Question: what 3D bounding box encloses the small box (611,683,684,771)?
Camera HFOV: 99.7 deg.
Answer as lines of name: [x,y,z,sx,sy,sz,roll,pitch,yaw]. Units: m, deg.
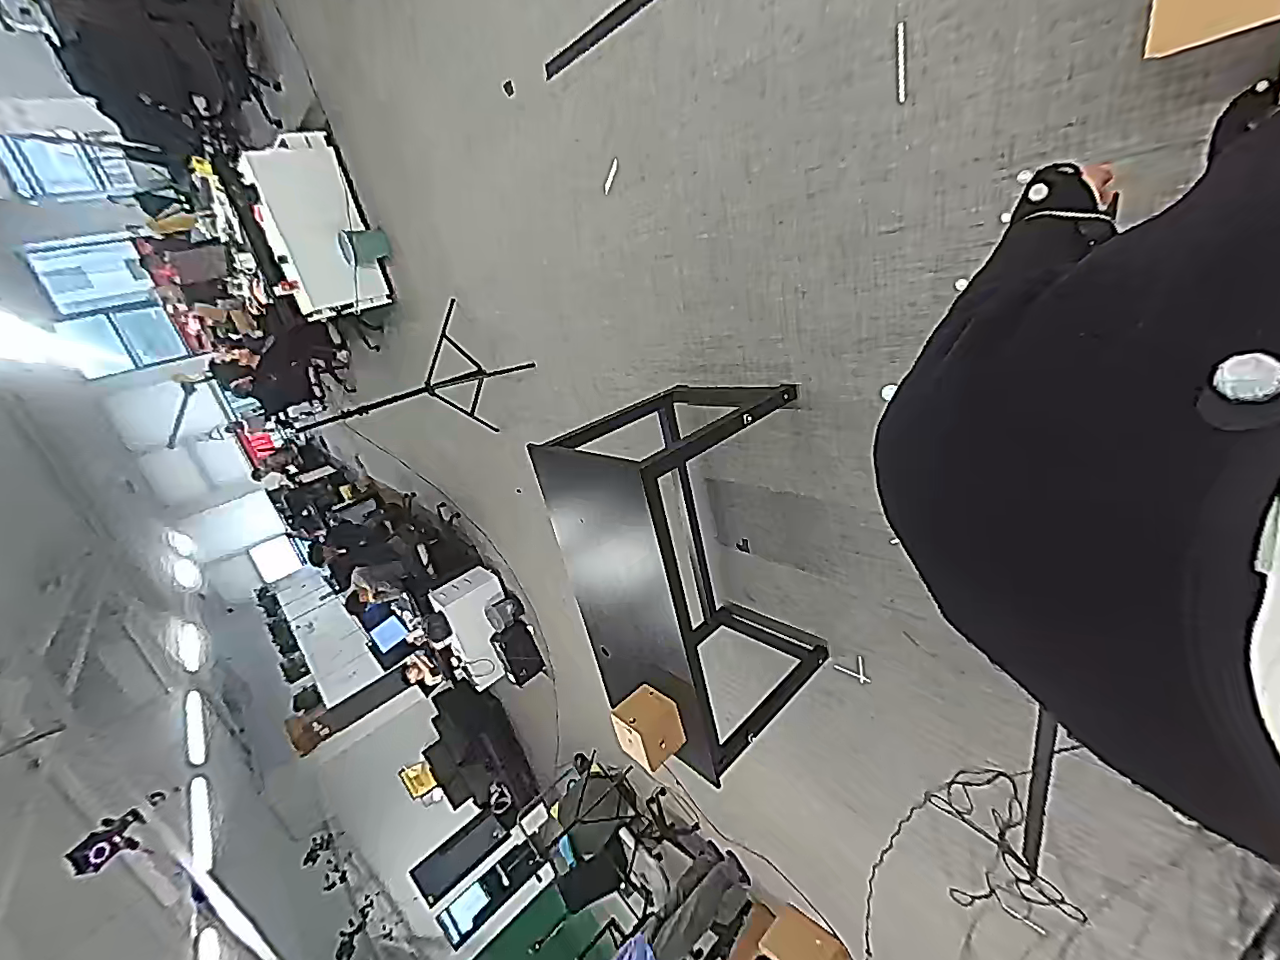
small box: [0.032,0.840,1.857,0.168,0.176,0.179,11,123,50]
